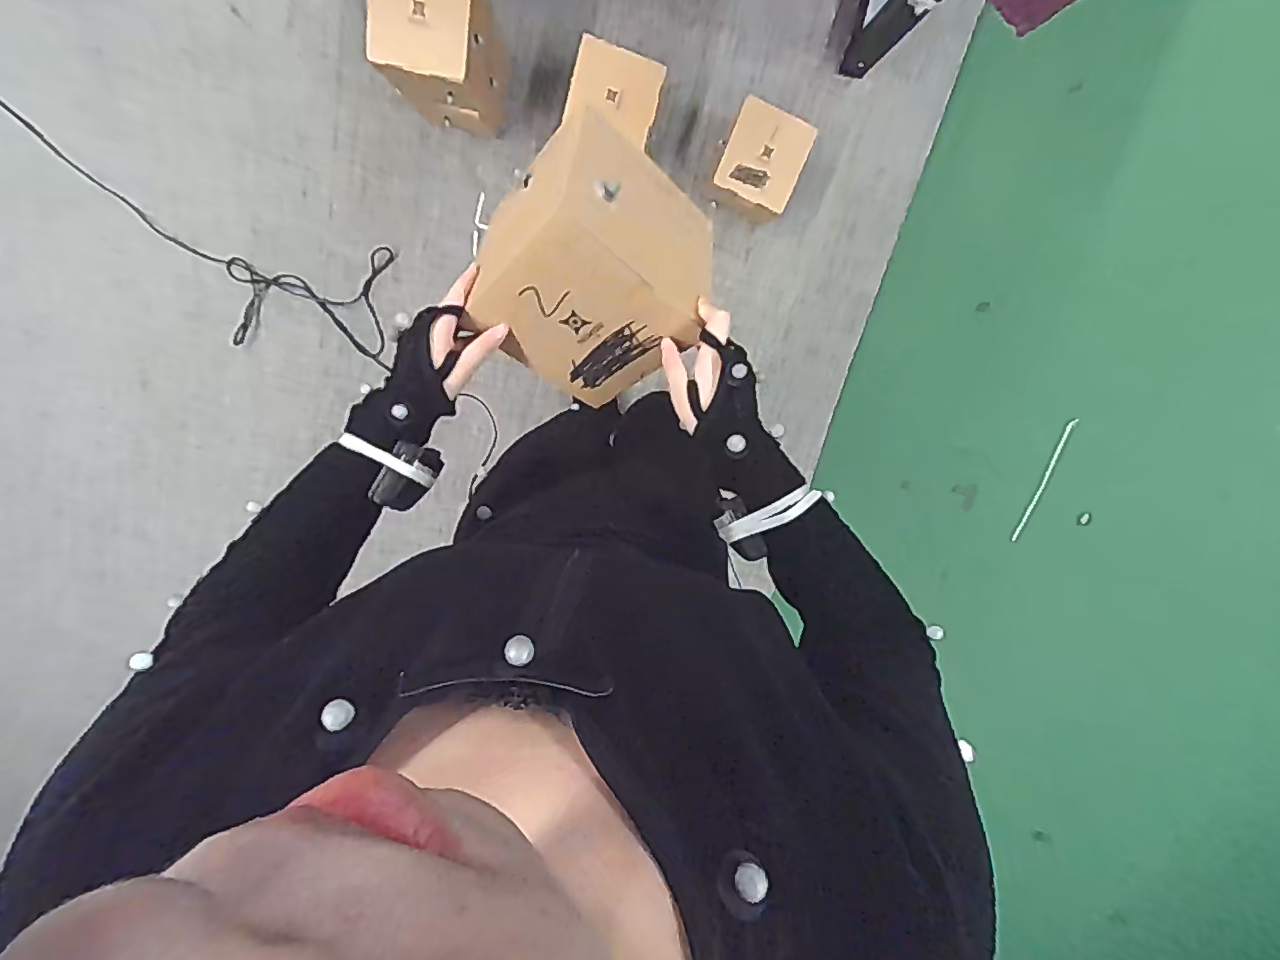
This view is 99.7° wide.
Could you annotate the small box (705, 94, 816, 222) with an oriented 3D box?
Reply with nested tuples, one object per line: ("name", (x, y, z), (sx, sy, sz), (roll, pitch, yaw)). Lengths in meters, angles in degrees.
("small box", (0.254, -0.695, 1.195), (0.168, 0.176, 0.179), (22, 105, -9))
